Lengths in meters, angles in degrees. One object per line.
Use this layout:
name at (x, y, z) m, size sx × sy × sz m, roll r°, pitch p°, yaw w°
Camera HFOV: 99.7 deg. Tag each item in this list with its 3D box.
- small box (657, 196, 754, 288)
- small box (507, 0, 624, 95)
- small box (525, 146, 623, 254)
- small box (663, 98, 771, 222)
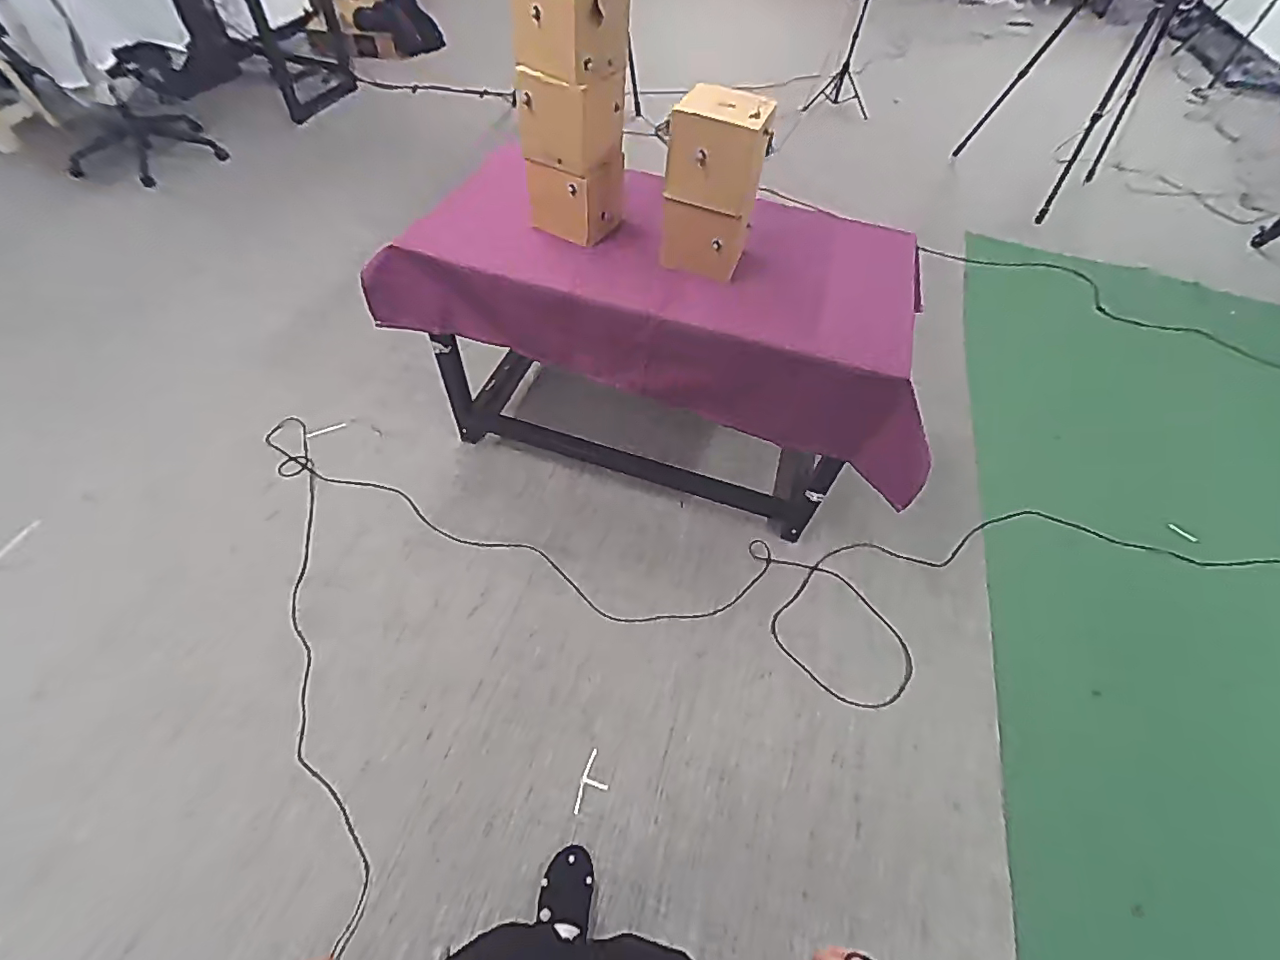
small box at (0.151, -0.582, 1.284) m, size 0.179 × 0.176 × 0.168 m, roll 18°, pitch 53°, yaw 9°
small box at (-0.143, -0.900, 1.084) m, size 0.179 × 0.176 × 0.168 m, roll 32°, pitch 56°, yaw 18°
small box at (-0.160, -0.689, 1.336) m, size 0.179 × 0.176 × 0.168 m, roll 26°, pitch 56°, yaw 13°
small box at (0.158, -0.677, 1.149) m, size 0.179 × 0.176 × 0.168 m, roll 20°, pitch 54°, yaw 10°
